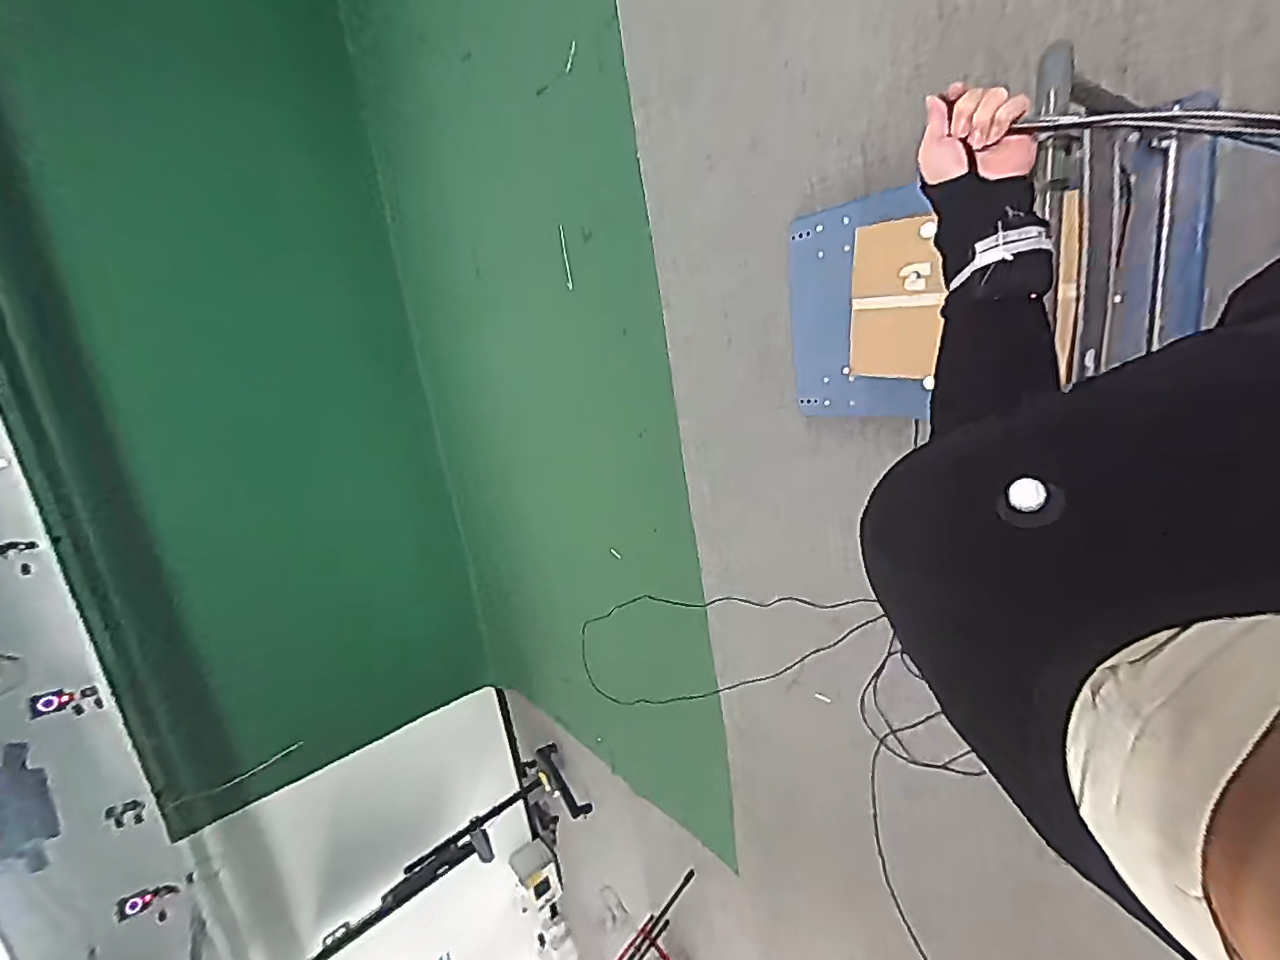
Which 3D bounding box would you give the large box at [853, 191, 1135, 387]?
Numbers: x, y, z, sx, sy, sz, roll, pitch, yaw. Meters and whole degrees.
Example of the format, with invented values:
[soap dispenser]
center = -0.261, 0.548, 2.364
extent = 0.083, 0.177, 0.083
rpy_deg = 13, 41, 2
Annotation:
[large box]
center = 0.711, -0.379, 1.120
extent = 0.408, 0.320, 0.320
rpy_deg = 16, 116, 48
